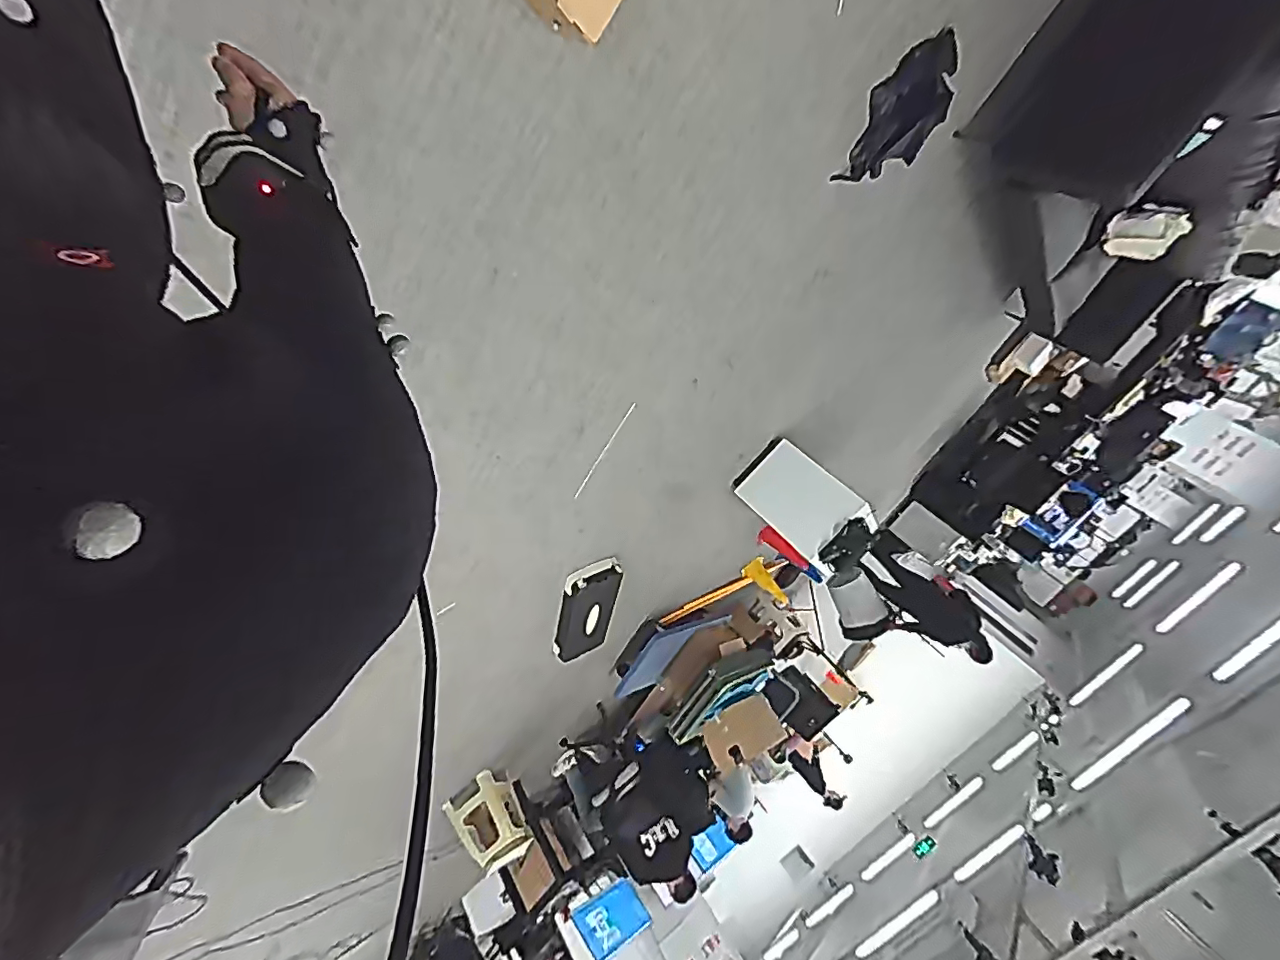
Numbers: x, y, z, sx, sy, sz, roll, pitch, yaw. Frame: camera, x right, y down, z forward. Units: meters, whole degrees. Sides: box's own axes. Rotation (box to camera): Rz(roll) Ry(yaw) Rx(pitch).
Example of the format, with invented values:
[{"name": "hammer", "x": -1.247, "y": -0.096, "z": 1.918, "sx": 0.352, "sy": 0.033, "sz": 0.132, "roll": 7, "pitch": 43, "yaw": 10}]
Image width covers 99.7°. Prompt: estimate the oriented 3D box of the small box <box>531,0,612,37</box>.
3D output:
[{"name": "small box", "x": -0.140, "y": -0.984, "z": 1.002, "sx": 0.179, "sy": 0.176, "sz": 0.168, "roll": -53, "pitch": 148, "yaw": 14}]
